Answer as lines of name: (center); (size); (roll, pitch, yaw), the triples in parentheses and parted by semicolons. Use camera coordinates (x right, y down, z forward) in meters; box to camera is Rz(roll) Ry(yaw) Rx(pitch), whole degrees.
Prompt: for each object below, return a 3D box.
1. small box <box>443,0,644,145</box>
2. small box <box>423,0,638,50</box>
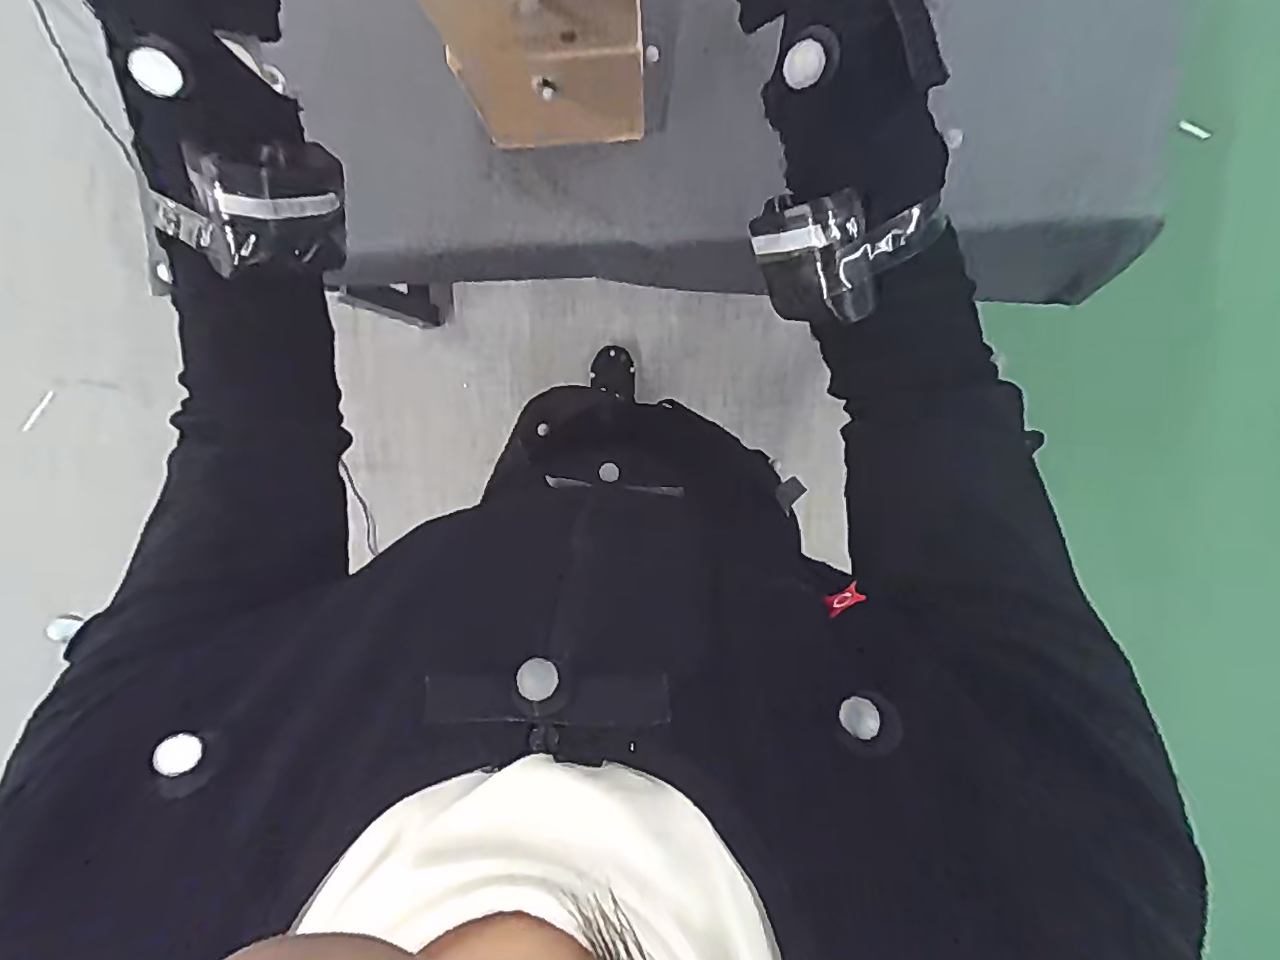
small box: (-0.087, -0.462, 0.543); (0.179, 0.176, 0.168); (-3, 99, 1)
small box: (-0.091, -0.443, 0.381); (0.168, 0.176, 0.179); (-4, 99, 3)
